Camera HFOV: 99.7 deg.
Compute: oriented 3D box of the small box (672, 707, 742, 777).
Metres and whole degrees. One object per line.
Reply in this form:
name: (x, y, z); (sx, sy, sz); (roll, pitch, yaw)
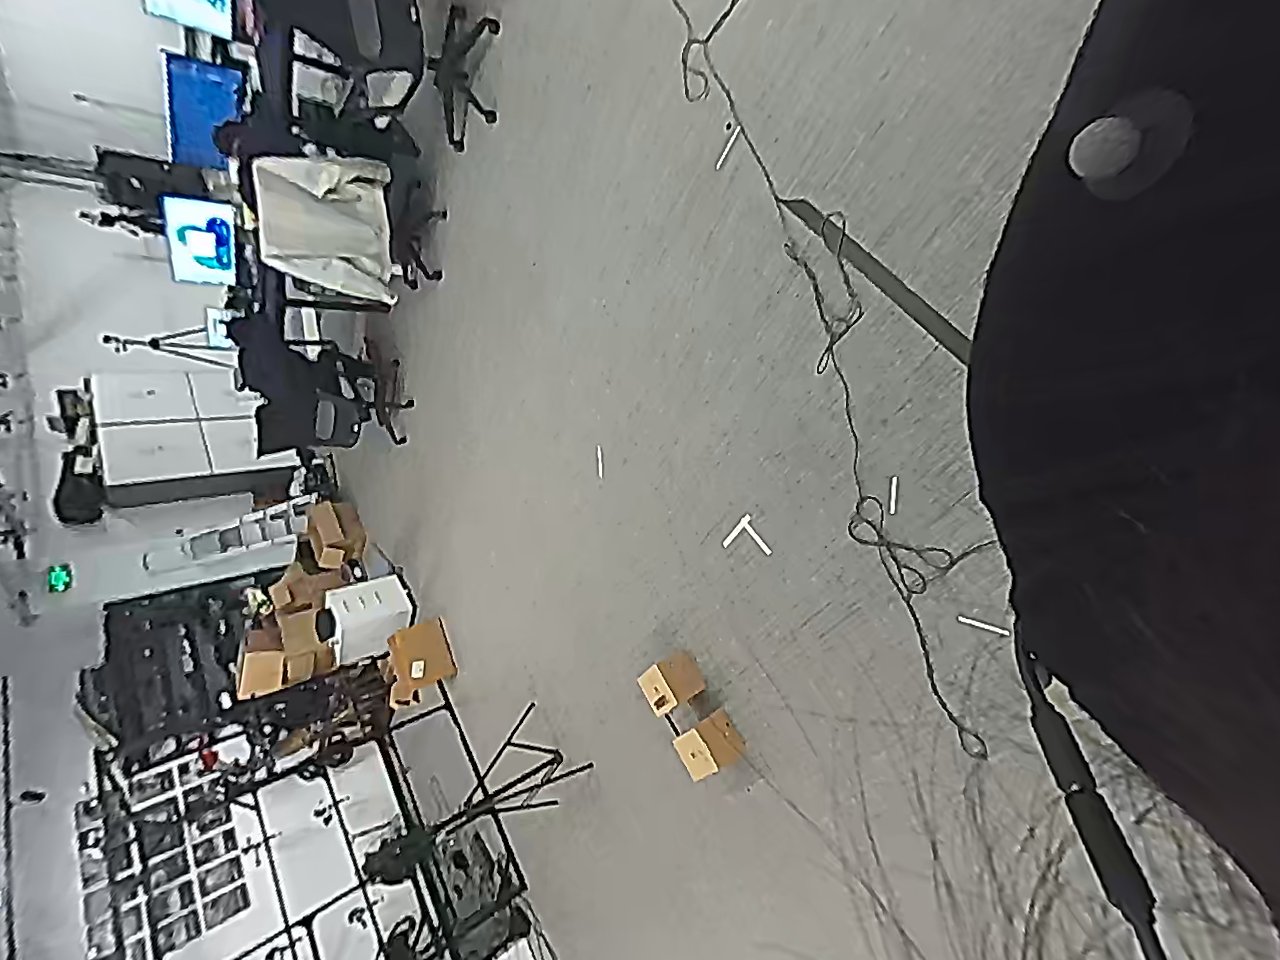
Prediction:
small box: (0.262, 1.019, 2.106); (0.168, 0.176, 0.179); (57, 134, 21)
